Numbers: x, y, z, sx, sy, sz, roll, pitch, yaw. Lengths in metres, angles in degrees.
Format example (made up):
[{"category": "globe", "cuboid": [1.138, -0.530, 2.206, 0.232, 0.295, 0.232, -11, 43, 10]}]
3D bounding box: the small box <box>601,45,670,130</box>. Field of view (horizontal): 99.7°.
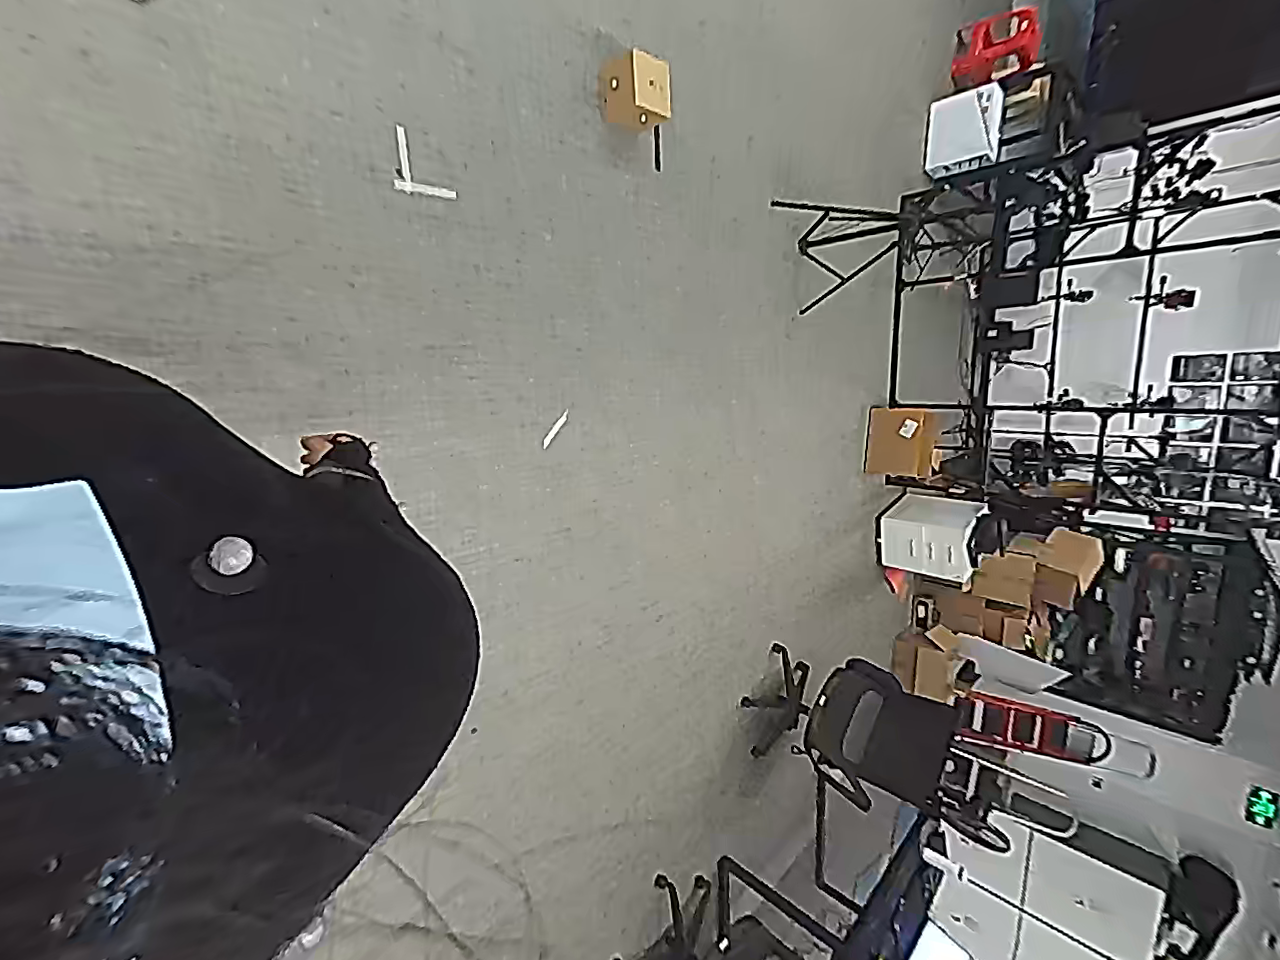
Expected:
[{"category": "small box", "cuboid": [-0.020, -1.325, 1.842, 0.179, 0.176, 0.168, -15, 107, -44]}]
